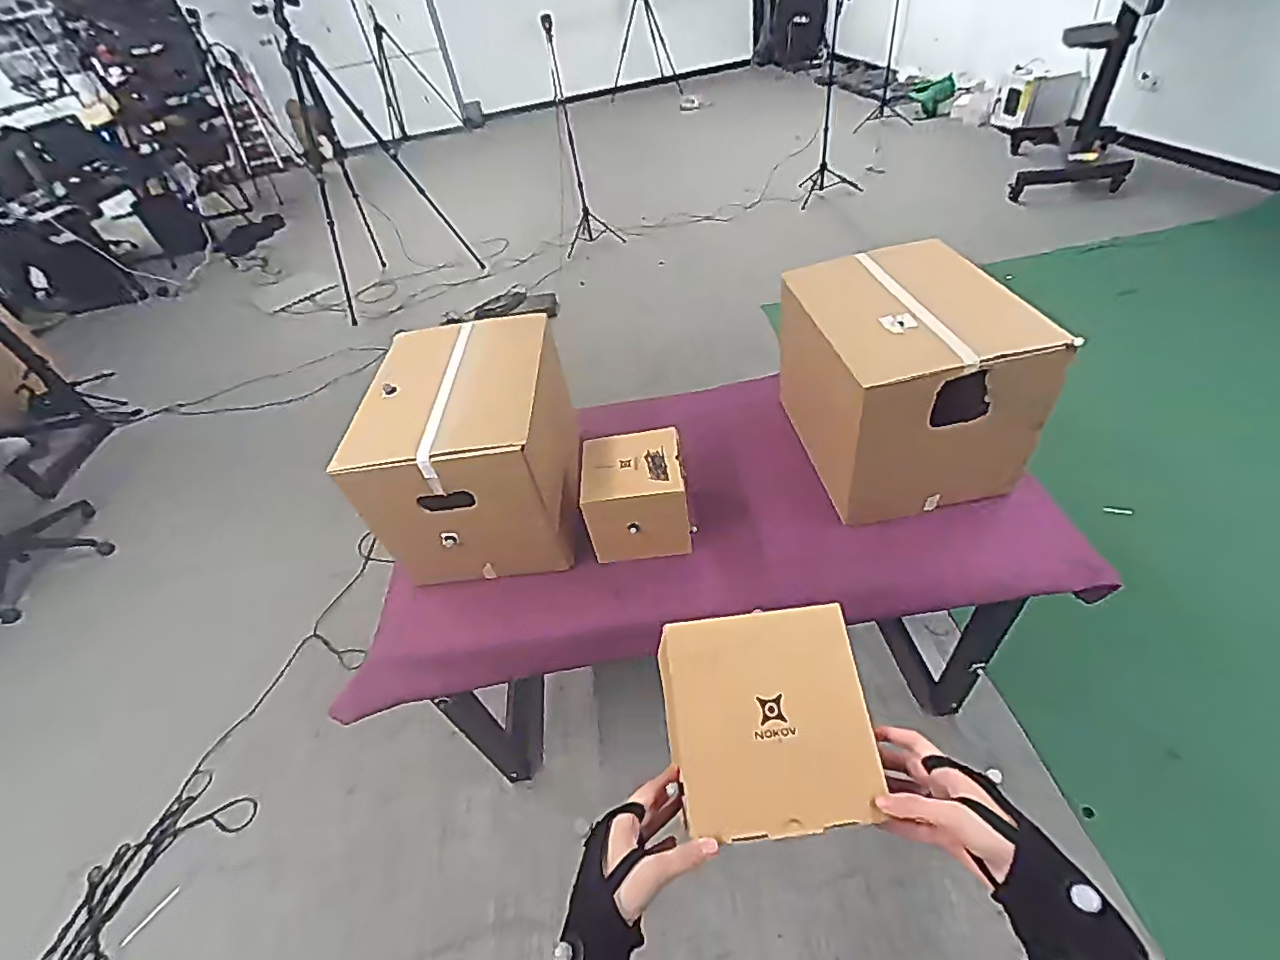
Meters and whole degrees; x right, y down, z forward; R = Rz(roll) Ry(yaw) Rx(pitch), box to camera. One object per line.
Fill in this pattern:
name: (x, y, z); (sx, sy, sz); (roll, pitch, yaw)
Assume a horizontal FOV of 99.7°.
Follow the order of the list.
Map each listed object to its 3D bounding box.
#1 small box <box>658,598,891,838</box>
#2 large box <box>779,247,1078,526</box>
small box: (0.110, 0.228, 0.533); (0.168, 0.176, 0.179); (-6, 66, -3)
large box: (0.472, -0.182, 1.014); (0.320, 0.320, 0.408); (-12, 44, 3)
